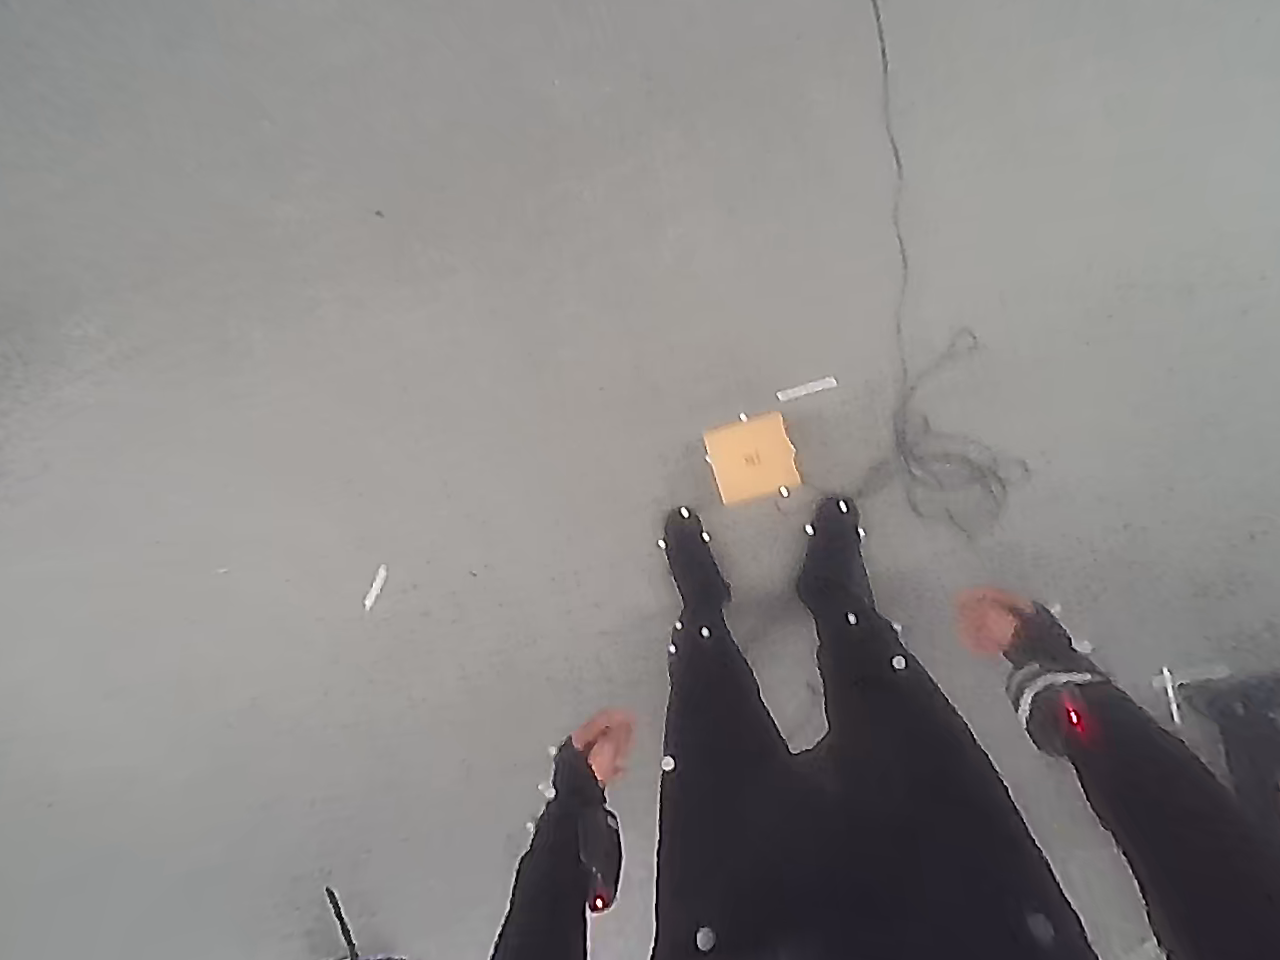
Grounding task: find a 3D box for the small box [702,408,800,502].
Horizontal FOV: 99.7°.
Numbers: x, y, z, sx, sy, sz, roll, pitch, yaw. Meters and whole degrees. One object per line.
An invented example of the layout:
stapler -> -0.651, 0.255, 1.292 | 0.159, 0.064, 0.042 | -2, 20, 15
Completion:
small box -> 0.253, -0.061, 1.237 | 0.179, 0.176, 0.168 | -18, 95, 12
